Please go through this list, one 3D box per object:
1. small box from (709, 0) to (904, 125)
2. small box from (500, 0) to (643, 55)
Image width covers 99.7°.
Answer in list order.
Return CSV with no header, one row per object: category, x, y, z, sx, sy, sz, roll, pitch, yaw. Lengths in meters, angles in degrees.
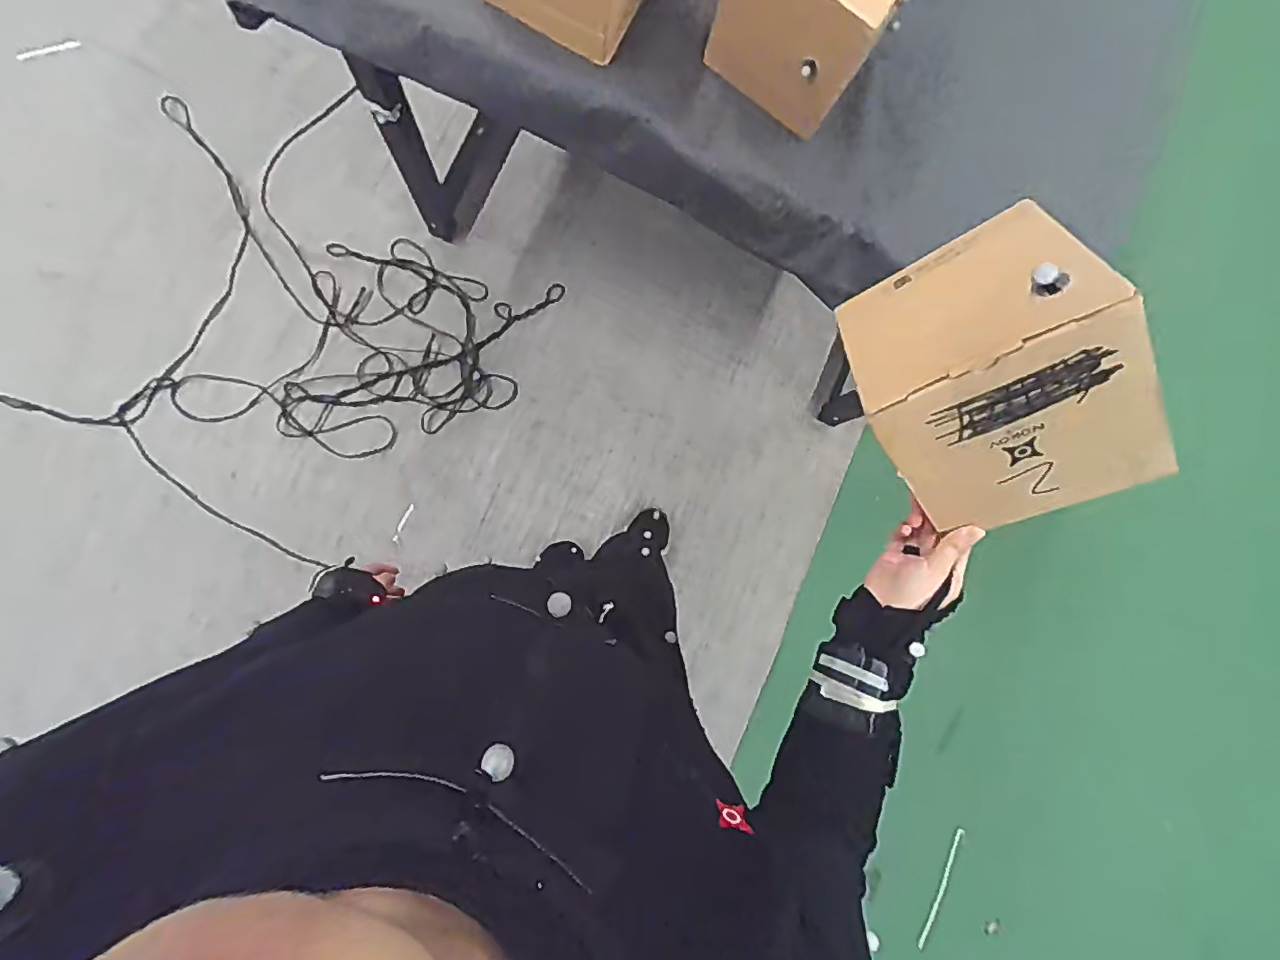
small box,0.210,-0.573,0.645,0.179,0.176,0.168,34,81,-2
small box,-0.076,-0.645,0.614,0.179,0.176,0.168,26,82,-5
